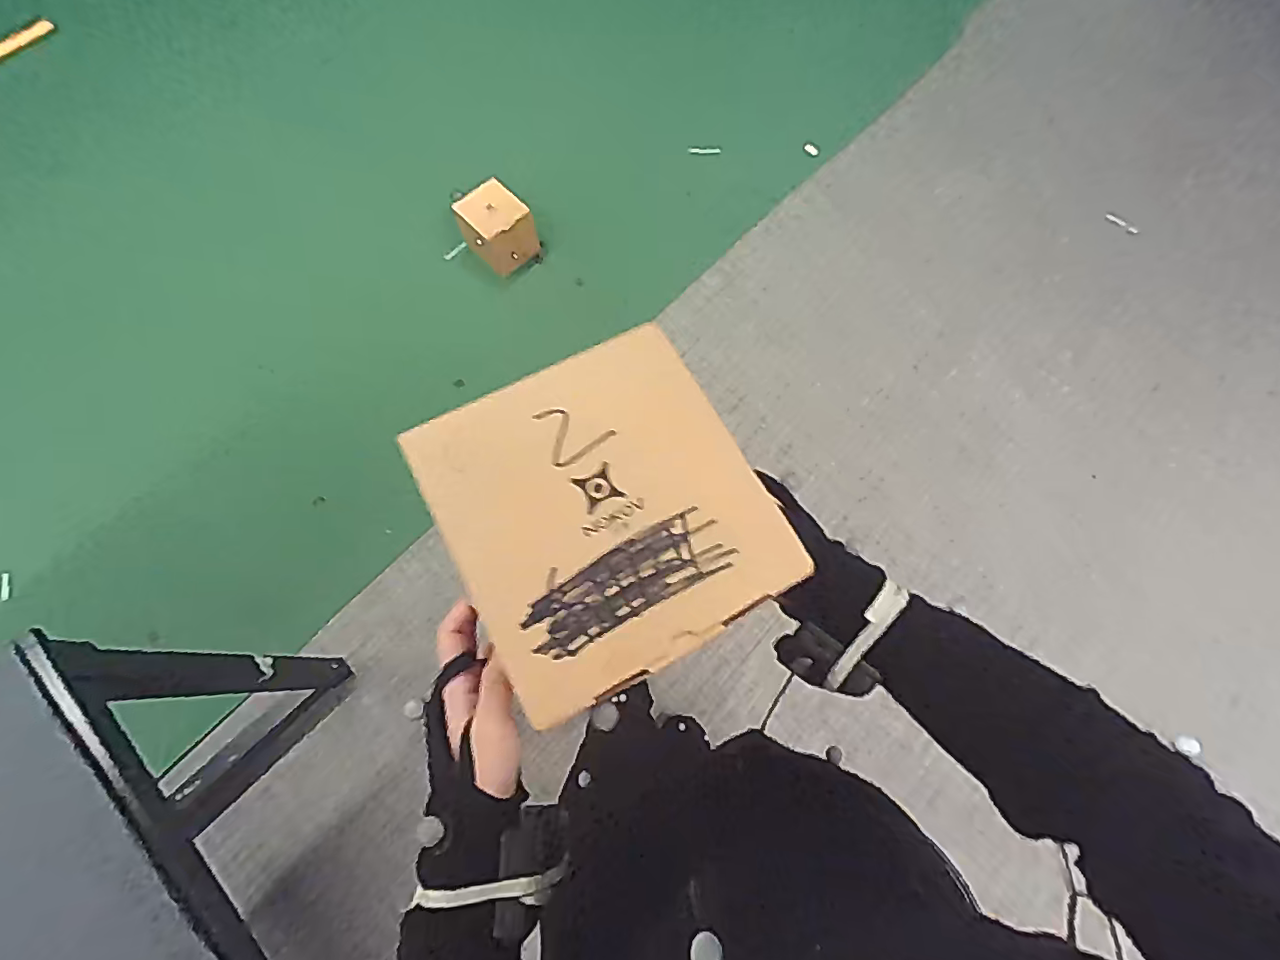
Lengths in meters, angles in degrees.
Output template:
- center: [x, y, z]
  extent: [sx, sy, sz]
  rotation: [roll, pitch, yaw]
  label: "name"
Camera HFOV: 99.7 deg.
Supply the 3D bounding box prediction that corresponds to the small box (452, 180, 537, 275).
- center: [-0.443, -0.775, 1.674]
  extent: [0.168, 0.176, 0.179]
  rotation: [-43, 76, -13]
  label: "small box"
